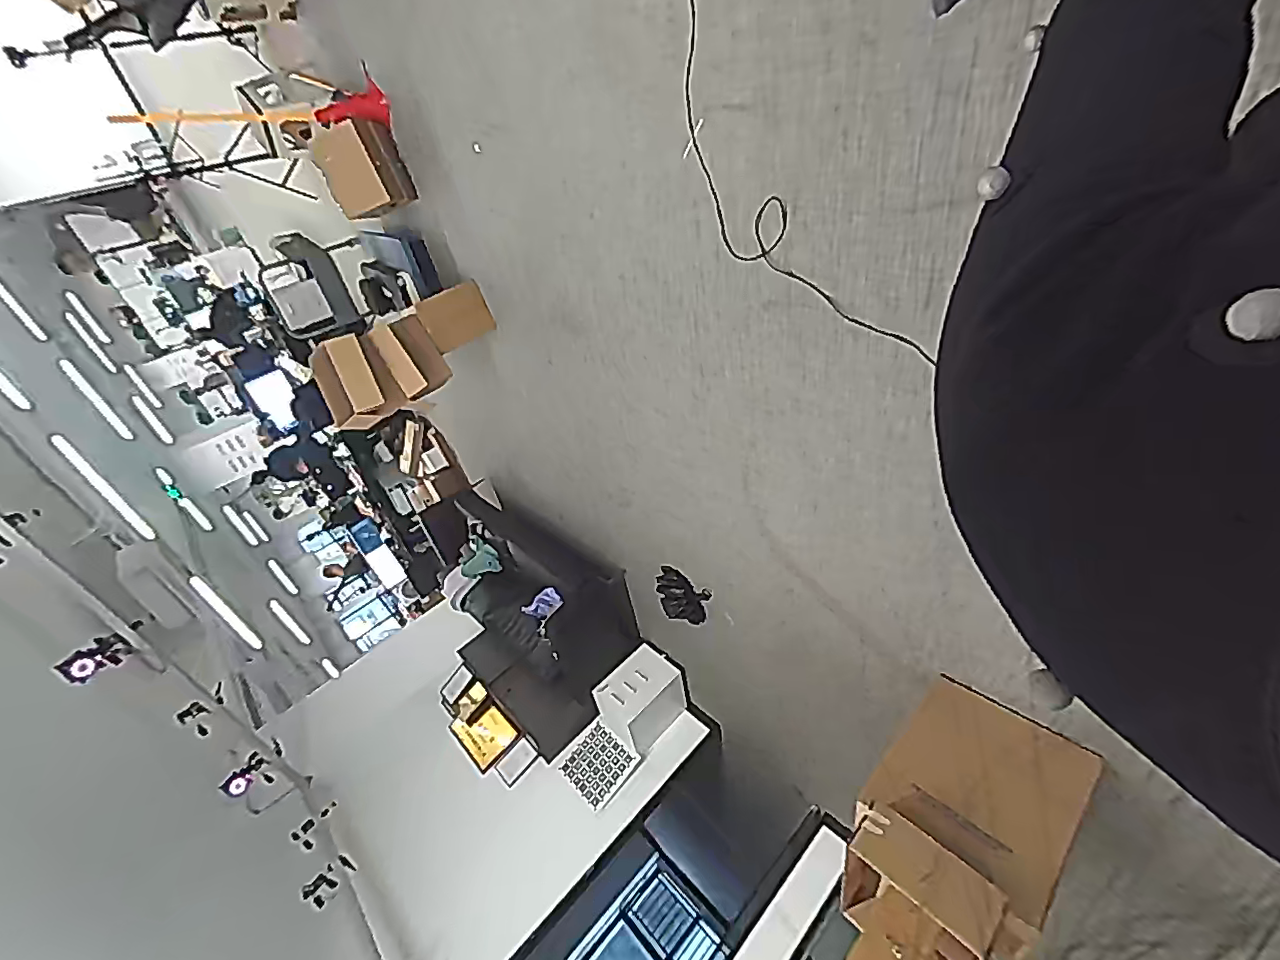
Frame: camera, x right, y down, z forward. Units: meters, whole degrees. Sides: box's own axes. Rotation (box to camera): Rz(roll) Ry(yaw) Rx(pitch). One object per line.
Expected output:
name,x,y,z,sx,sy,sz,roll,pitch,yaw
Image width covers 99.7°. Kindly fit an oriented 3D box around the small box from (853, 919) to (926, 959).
small box,0.743,1.469,1.606,0.168,0.176,0.179,22,138,43
